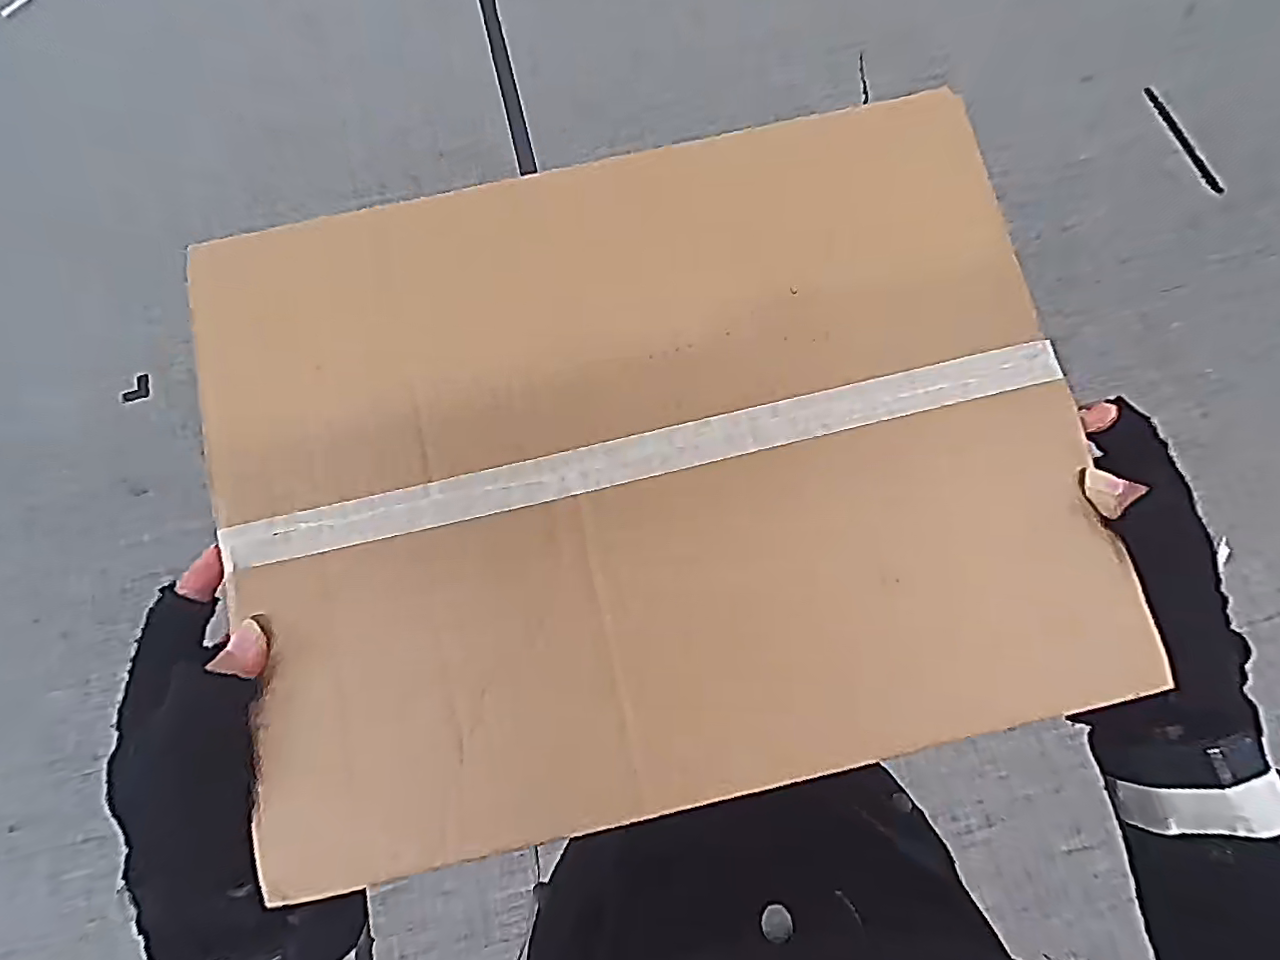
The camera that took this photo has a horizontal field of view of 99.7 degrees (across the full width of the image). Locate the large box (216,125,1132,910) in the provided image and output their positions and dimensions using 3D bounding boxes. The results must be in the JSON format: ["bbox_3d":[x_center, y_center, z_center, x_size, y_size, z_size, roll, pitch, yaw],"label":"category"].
[{"bbox_3d":[0.008,0.019,0.413,0.408,0.320,0.320,-13,81,-1],"label":"large box"}]
